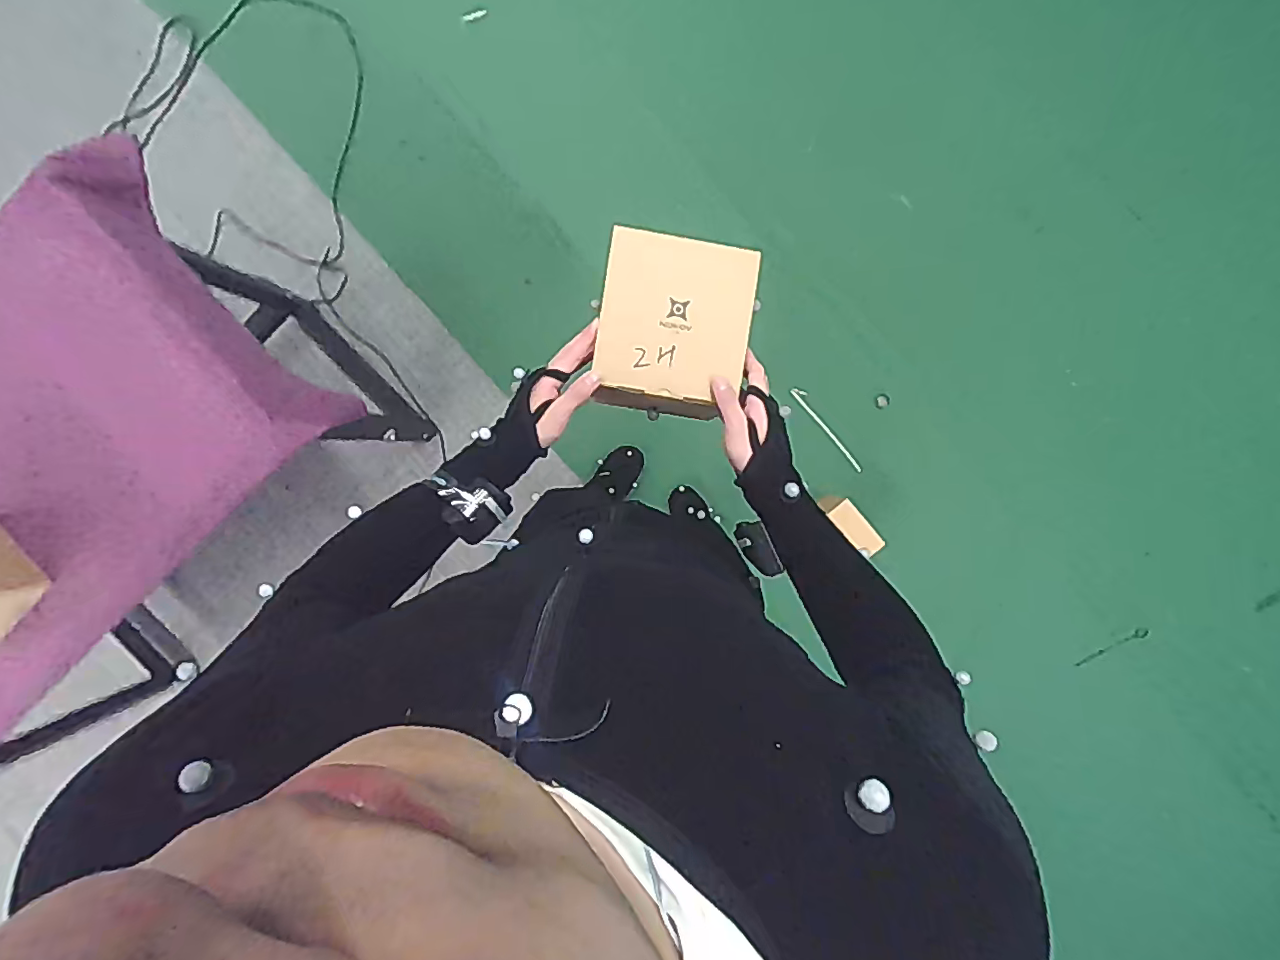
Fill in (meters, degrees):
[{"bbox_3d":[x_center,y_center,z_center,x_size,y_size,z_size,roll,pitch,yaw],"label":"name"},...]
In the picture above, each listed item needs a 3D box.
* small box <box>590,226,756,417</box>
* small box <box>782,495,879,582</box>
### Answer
[{"bbox_3d":[0.031,-0.181,0.669,0.168,0.176,0.179,8,92,-3],"label":"small box"},{"bbox_3d":[0.534,0.158,1.543,0.179,0.176,0.168,-40,91,5],"label":"small box"}]
